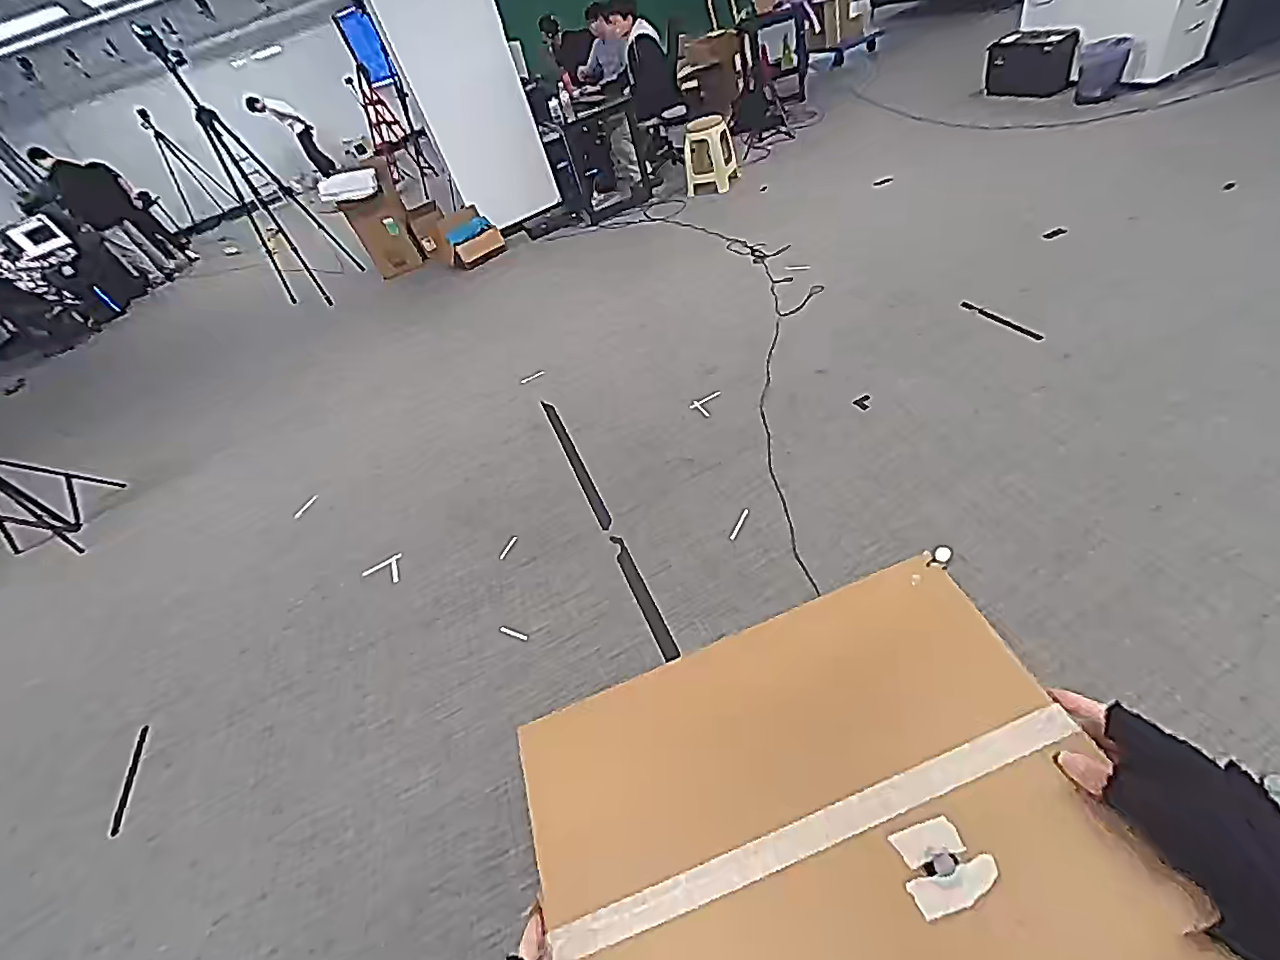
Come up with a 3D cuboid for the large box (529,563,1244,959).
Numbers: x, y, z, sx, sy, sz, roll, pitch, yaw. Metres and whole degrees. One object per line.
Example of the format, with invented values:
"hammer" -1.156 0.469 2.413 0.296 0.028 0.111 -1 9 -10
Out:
"large box" 0.160 0.351 0.514 0.408 0.320 0.320 -23 50 -2
